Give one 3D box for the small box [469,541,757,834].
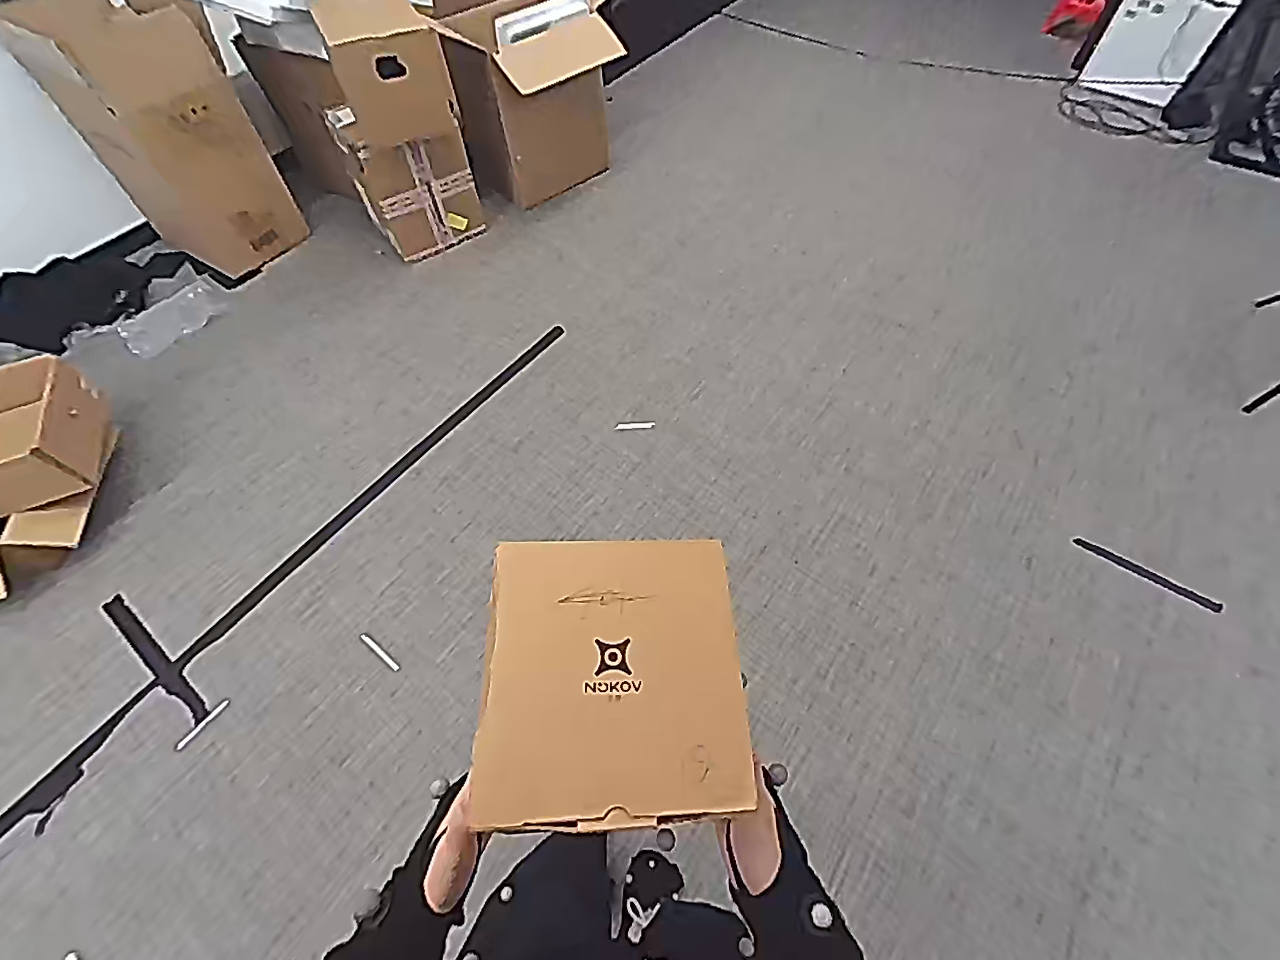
[{"bbox_3d":[-0.023,0.161,0.412,0.168,0.176,0.179,0,56,-6],"label":"small box"}]
